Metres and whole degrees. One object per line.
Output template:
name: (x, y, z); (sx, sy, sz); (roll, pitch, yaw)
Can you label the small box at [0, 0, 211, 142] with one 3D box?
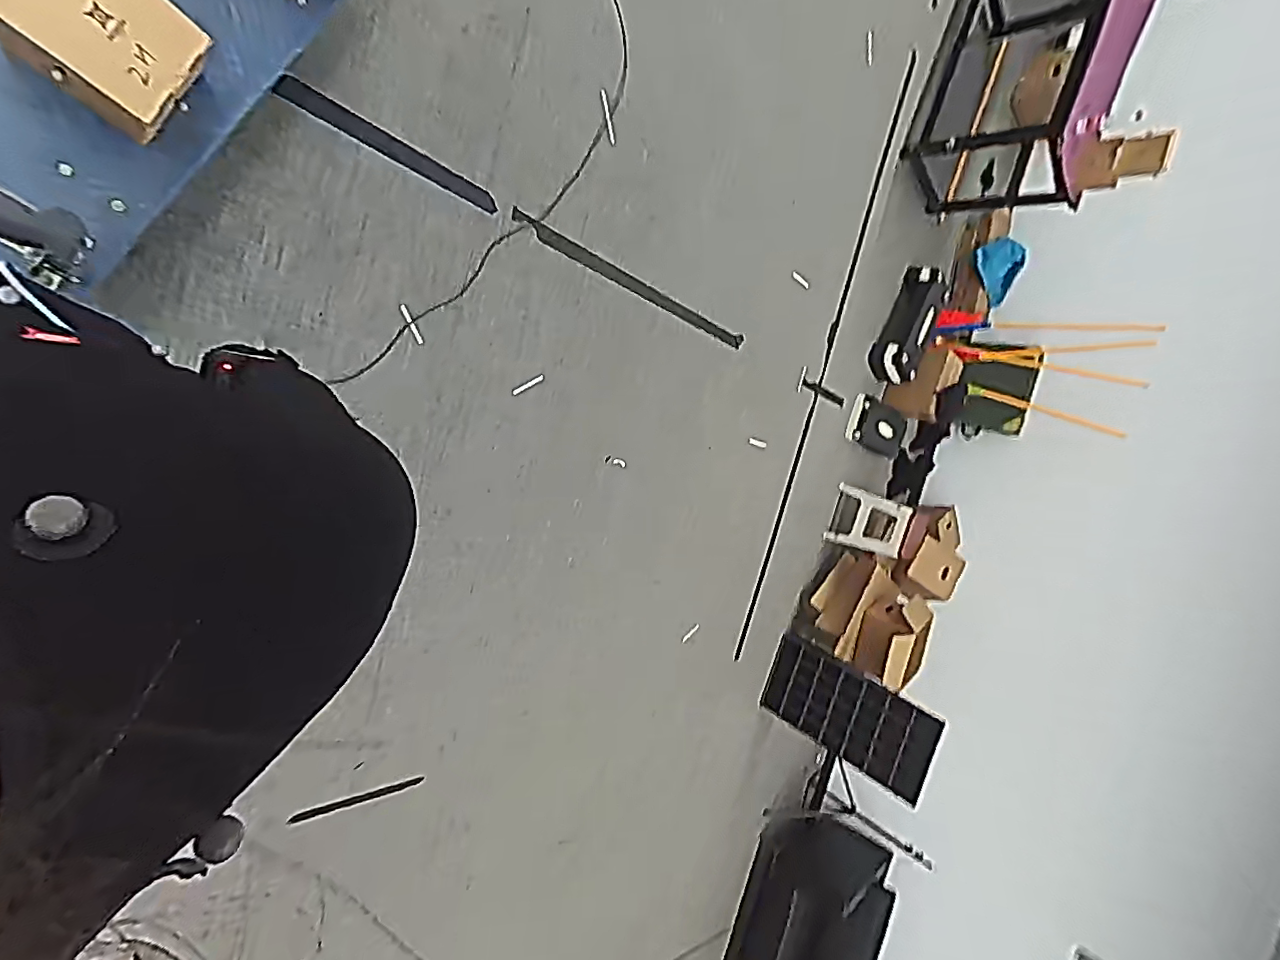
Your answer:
small box: (-0.782, -0.636, 0.791); (0.179, 0.176, 0.168); (37, 78, -45)
